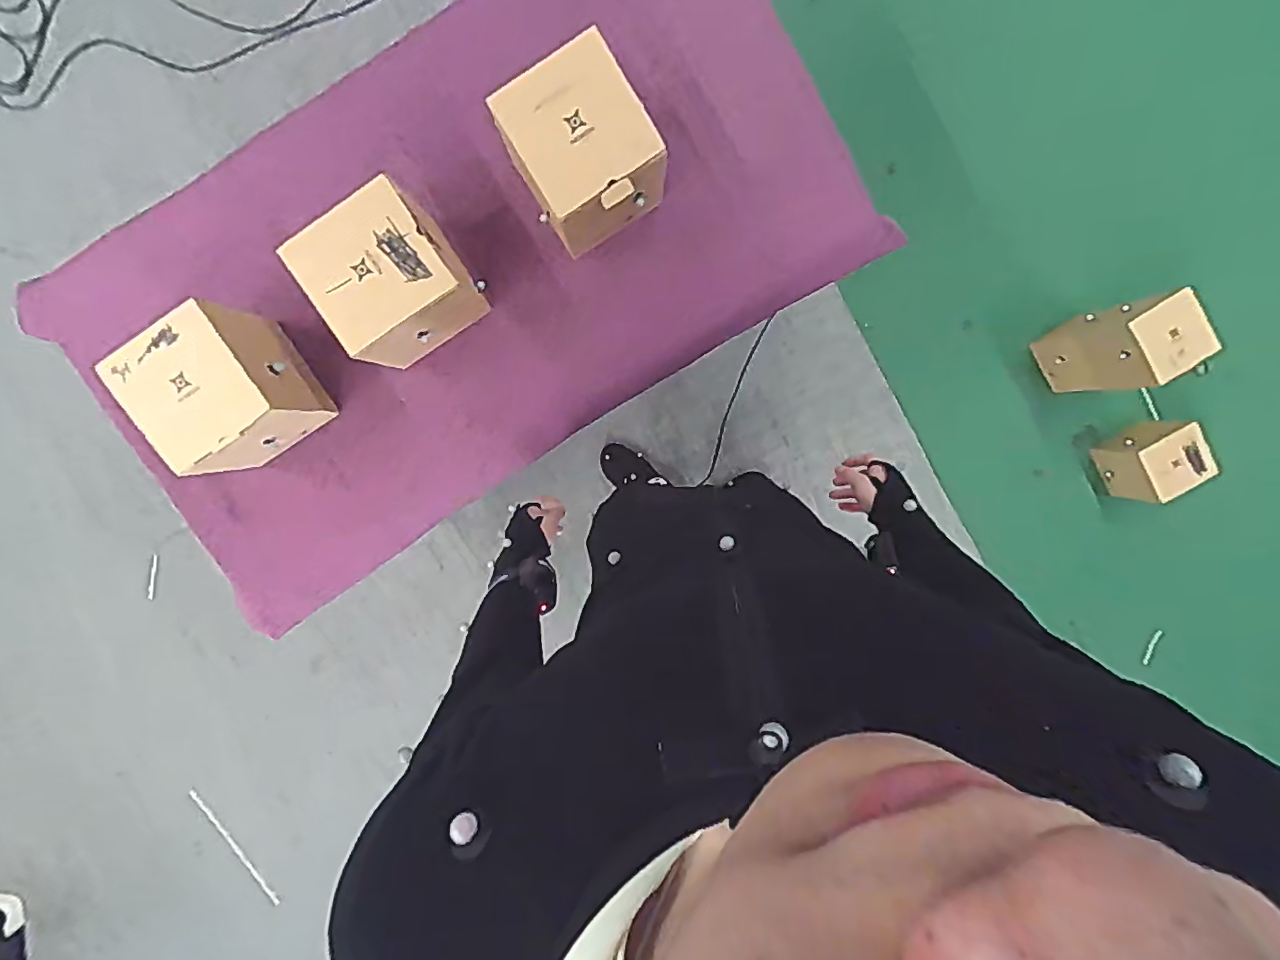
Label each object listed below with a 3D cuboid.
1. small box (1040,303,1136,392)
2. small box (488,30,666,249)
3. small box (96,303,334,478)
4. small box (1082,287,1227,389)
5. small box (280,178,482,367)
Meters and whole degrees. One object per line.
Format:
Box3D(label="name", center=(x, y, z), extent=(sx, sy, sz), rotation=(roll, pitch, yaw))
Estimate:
Box3D(label="small box", center=(1.265, -0.358, 1.503), extent=(0.179, 0.176, 0.168), rotation=(-32, 95, 2))
Box3D(label="small box", center=(-0.078, -0.451, 0.757), extent=(0.168, 0.176, 0.179), rotation=(-32, 95, 3))
Box3D(label="small box", center=(-0.595, -0.126, 0.787), extent=(0.168, 0.176, 0.179), rotation=(-33, 96, 2))
Box3D(label="small box", center=(1.260, -0.341, 1.339), extent=(0.168, 0.176, 0.179), rotation=(-32, 95, 3))
Box3D(label="small box", center=(-0.348, -0.280, 0.773), extent=(0.179, 0.176, 0.168), rotation=(-33, 95, 4))
